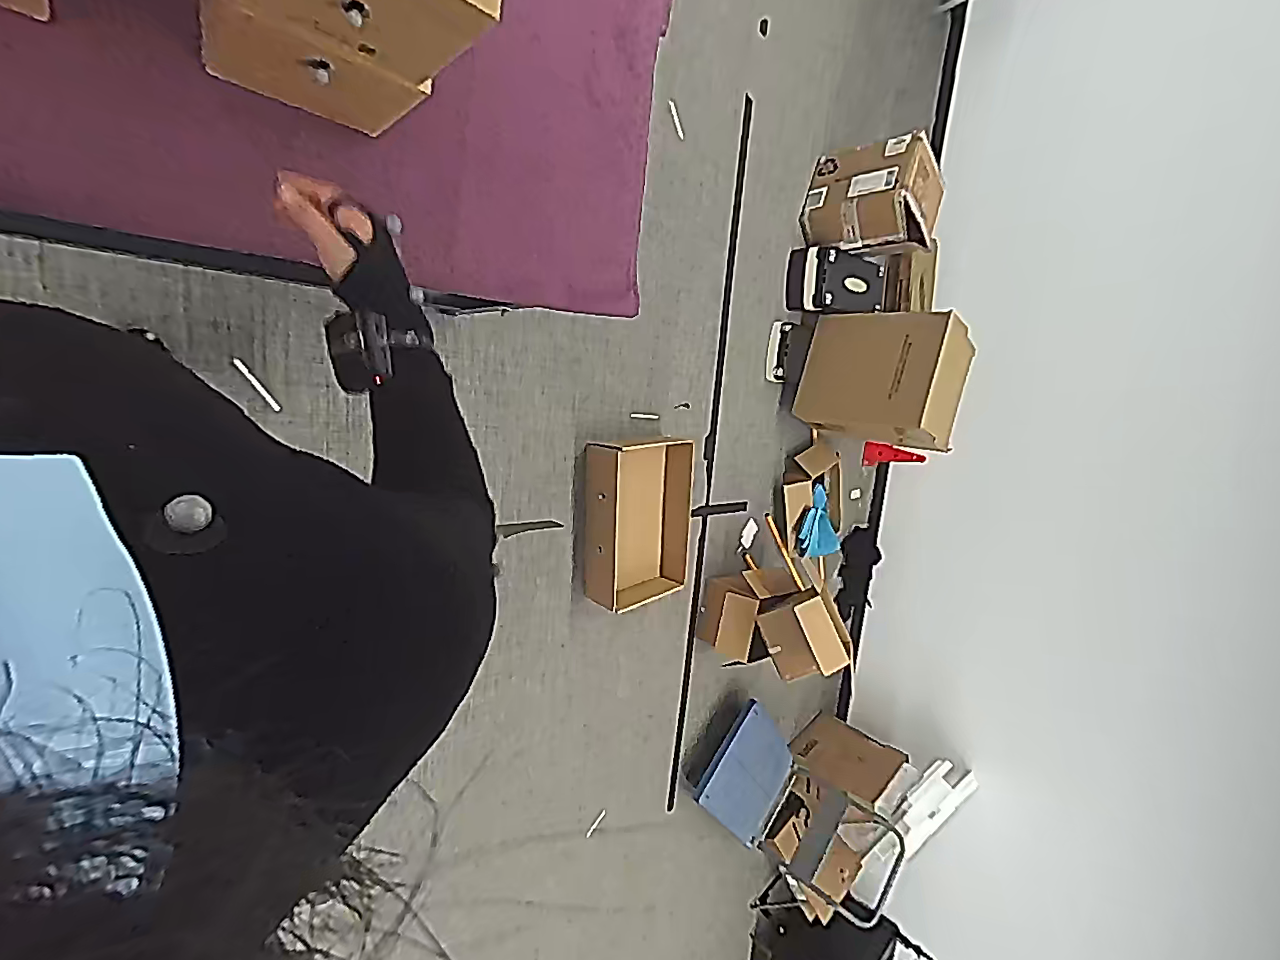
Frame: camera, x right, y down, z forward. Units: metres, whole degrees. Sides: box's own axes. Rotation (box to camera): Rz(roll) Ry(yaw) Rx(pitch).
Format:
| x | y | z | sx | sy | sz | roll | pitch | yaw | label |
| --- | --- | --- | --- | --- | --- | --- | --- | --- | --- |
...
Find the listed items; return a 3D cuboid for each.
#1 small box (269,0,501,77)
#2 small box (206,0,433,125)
| x | y | z | sx | sy | sz | roll | pitch | yaw | label |
| --- | --- | --- | --- | --- | --- | --- | --- | --- | --- |
| -0.223 | -0.483 | 0.447 | 0.168 | 0.176 | 0.179 | -3 | 102 | -45 | small box |
| -0.333 | -0.505 | 0.567 | 0.179 | 0.176 | 0.168 | -2 | 102 | -44 | small box |
